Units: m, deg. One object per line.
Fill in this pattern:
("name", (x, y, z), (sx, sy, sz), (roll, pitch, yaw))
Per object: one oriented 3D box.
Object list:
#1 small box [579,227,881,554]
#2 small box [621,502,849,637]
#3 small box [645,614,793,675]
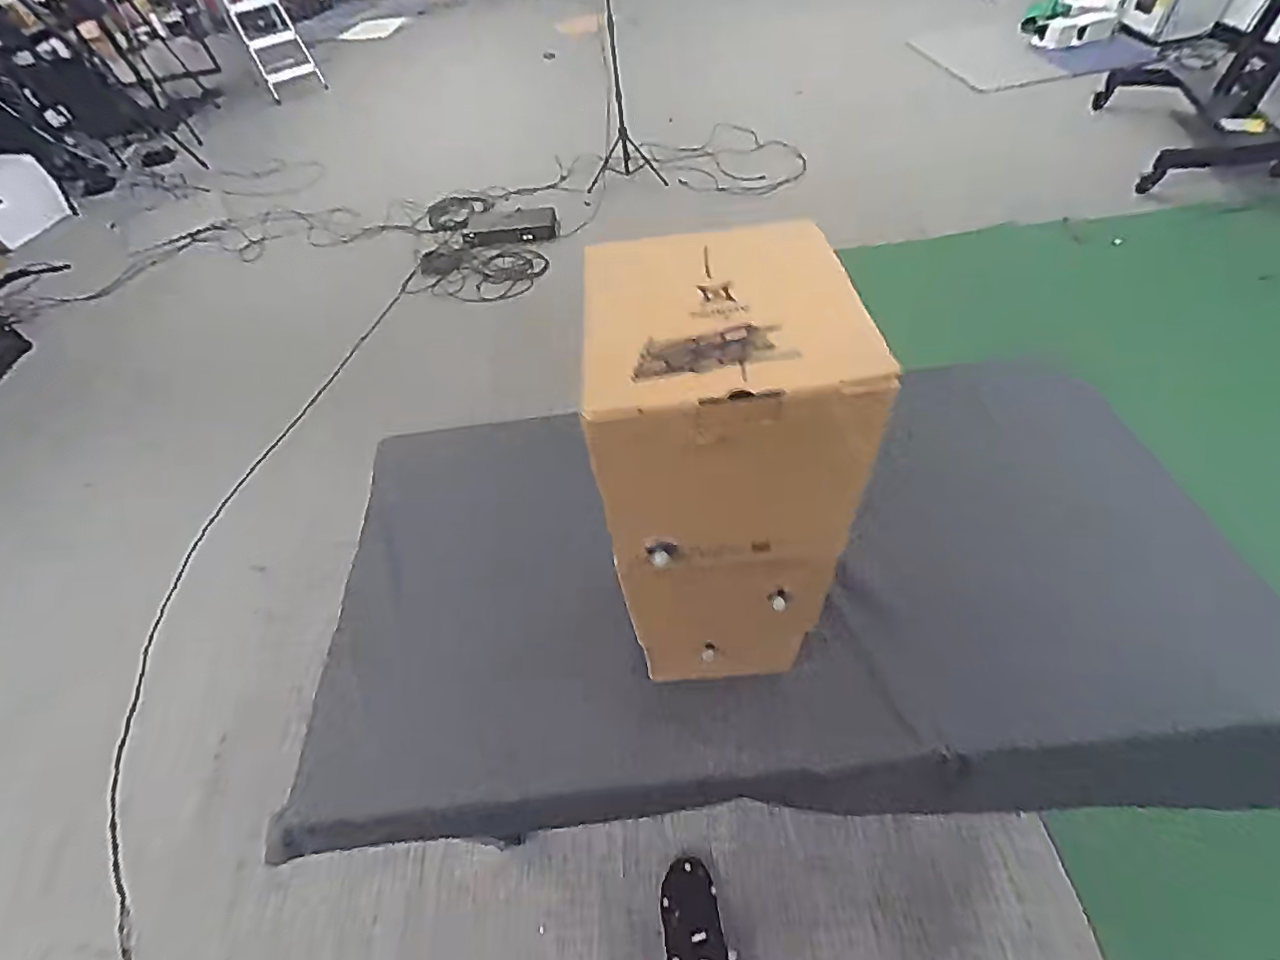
("small box", (0.053, -0.056, 0.401), (0.168, 0.176, 0.179), (-5, 50, 2))
("small box", (0.070, 0.034, 0.517), (0.179, 0.176, 0.168), (-8, 52, 0))
("small box", (0.086, 0.128, 0.671), (0.179, 0.176, 0.168), (-7, 51, 0))
